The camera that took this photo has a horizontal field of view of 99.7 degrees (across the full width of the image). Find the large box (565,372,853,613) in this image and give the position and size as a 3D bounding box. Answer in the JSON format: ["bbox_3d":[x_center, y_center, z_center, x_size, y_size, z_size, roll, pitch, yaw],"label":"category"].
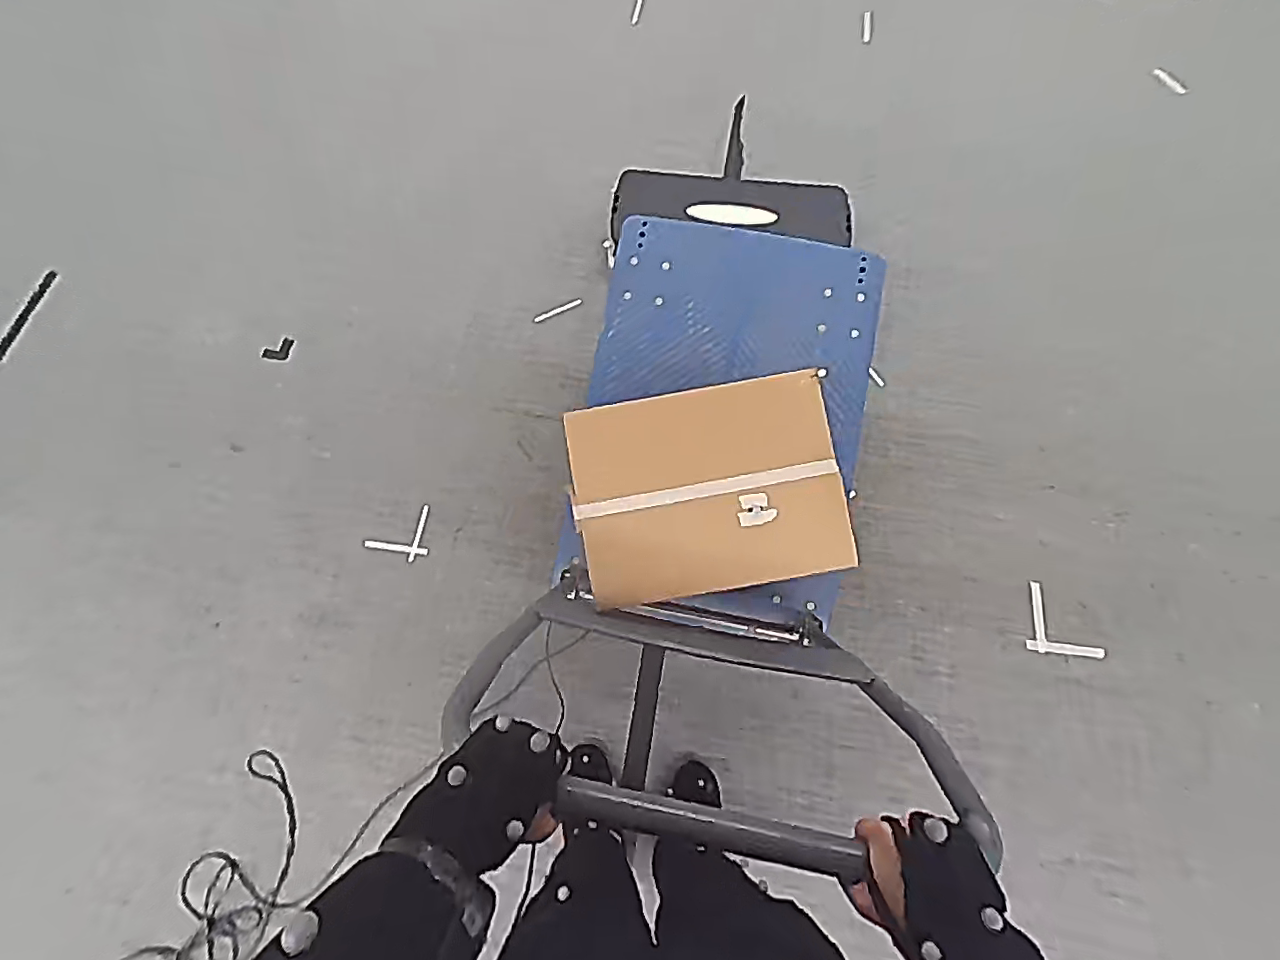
[{"bbox_3d":[0.105,0.032,0.984,0.408,0.320,0.320,-11,85,0],"label":"large box"}]
